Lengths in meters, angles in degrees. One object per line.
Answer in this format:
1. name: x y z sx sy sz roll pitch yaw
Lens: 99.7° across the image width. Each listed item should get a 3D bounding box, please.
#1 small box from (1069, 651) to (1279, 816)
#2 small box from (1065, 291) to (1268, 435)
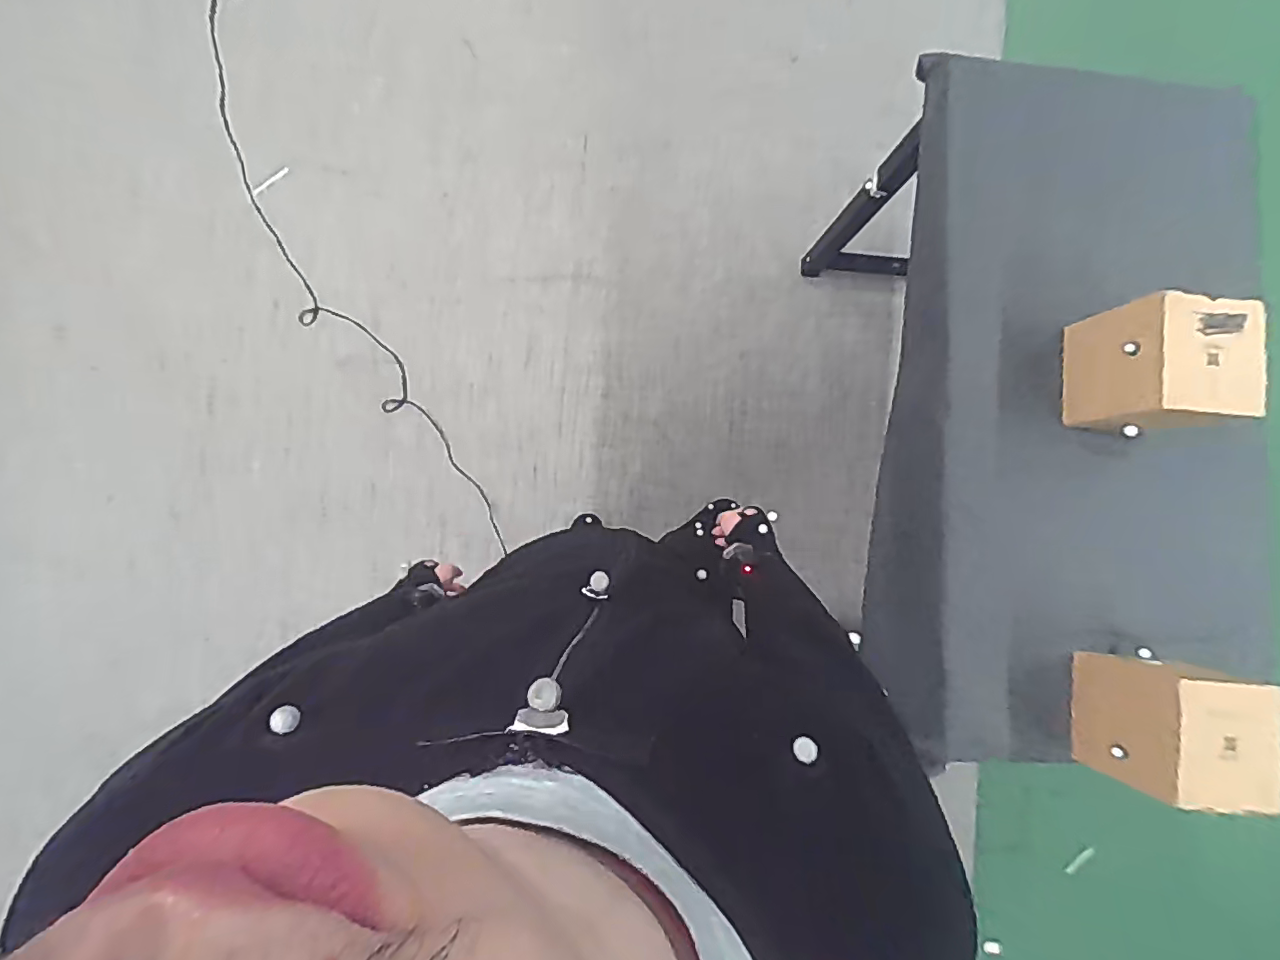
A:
1. small box: 0.801 0.375 0.825 0.168 0.176 0.179 6 85 -6
2. small box: 0.819 -0.175 0.856 0.168 0.176 0.179 5 88 -5
